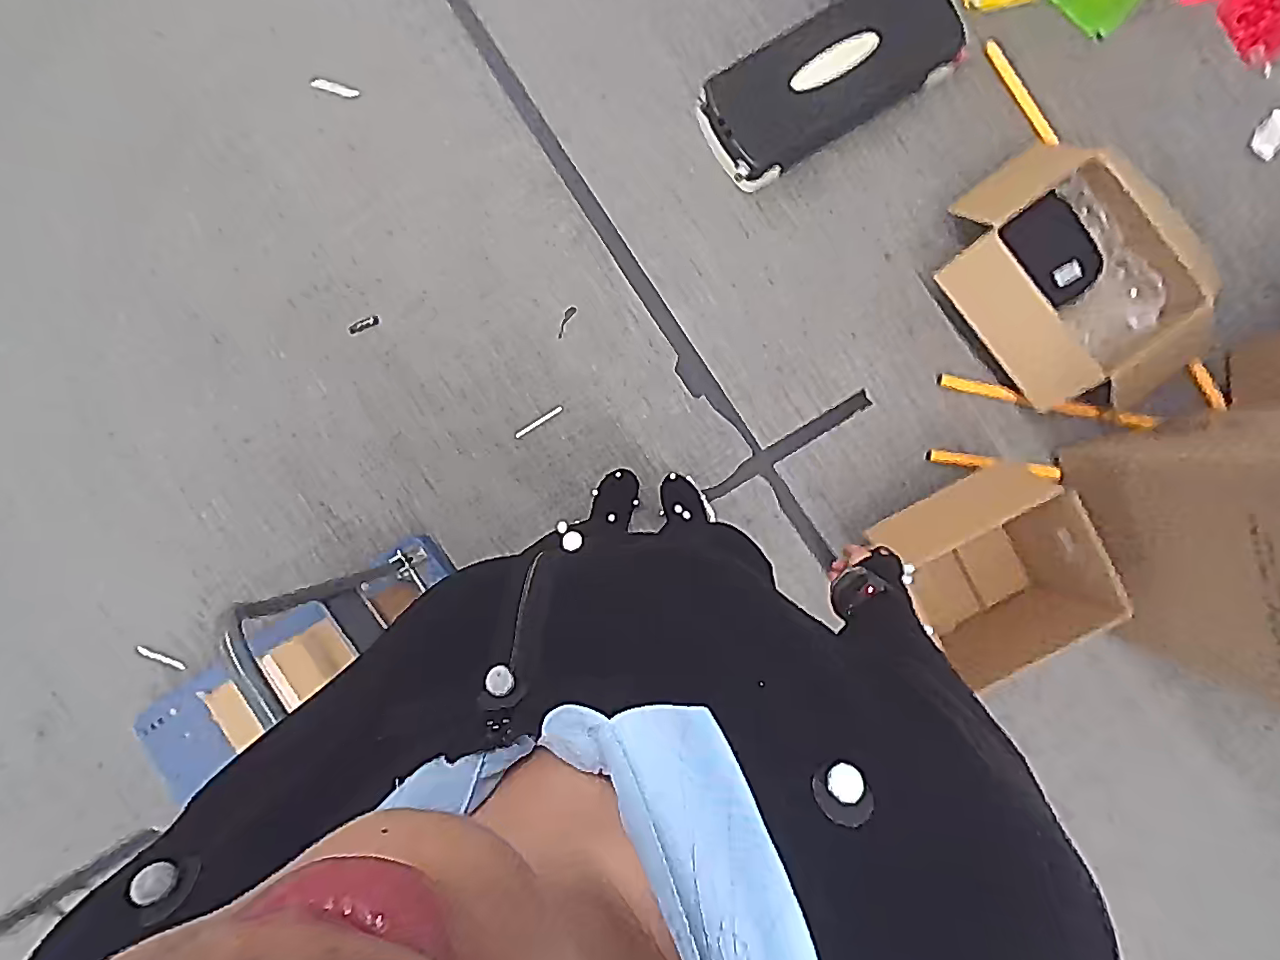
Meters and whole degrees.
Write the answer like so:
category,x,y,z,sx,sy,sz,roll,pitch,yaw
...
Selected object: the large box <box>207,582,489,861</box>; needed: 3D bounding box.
category,x,y,z,sx,sy,sz,roll,pitch,yaw
large box,-0.605,0.496,1.192,0.320,0.320,0.408,-32,89,0
